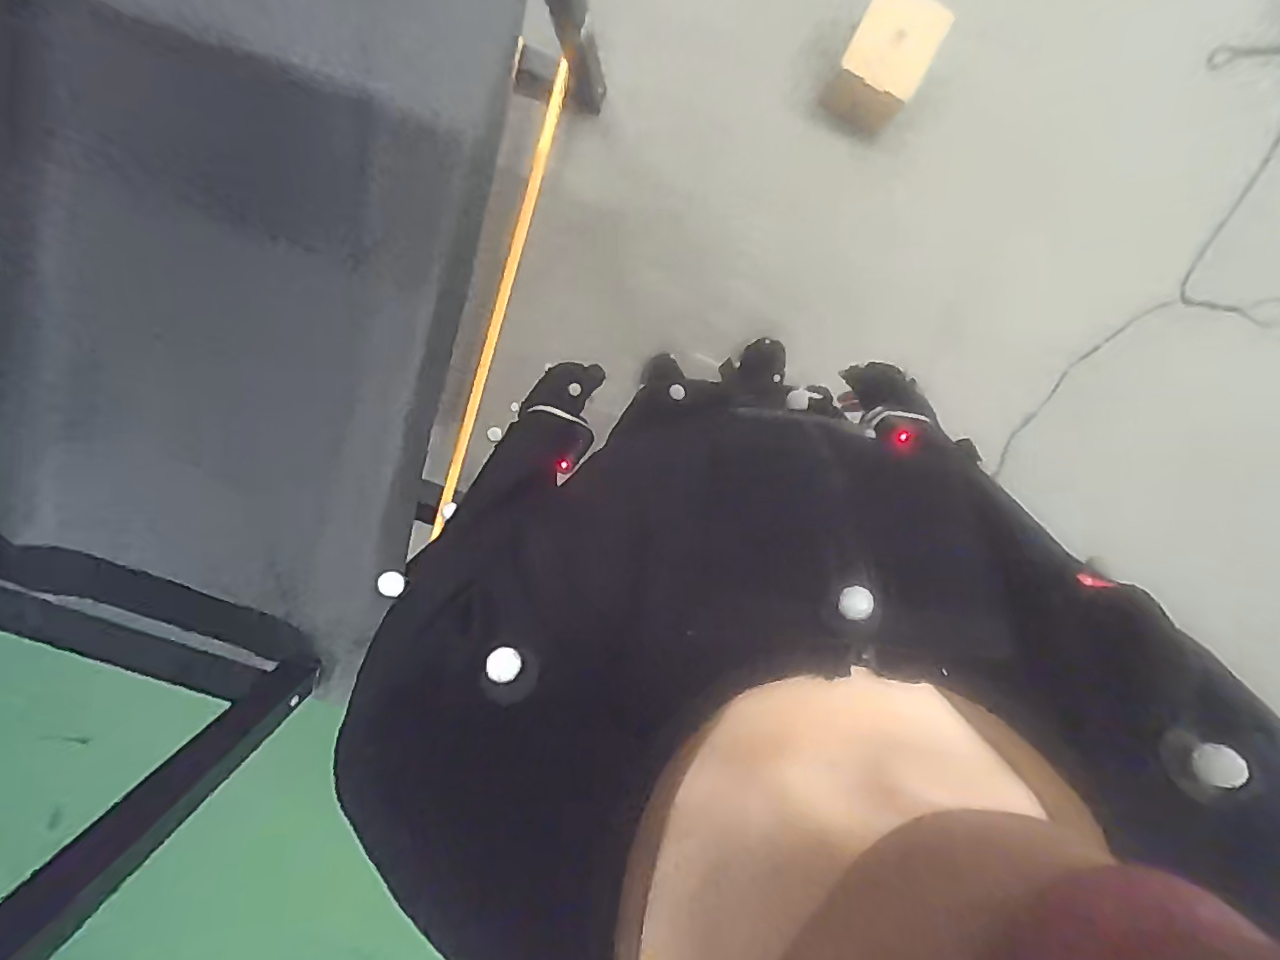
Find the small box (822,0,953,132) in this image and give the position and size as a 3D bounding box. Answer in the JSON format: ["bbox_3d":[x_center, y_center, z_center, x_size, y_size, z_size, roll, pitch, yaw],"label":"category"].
[{"bbox_3d":[0.518,-0.900,1.163,0.168,0.176,0.179,25,105,-3],"label":"small box"}]
